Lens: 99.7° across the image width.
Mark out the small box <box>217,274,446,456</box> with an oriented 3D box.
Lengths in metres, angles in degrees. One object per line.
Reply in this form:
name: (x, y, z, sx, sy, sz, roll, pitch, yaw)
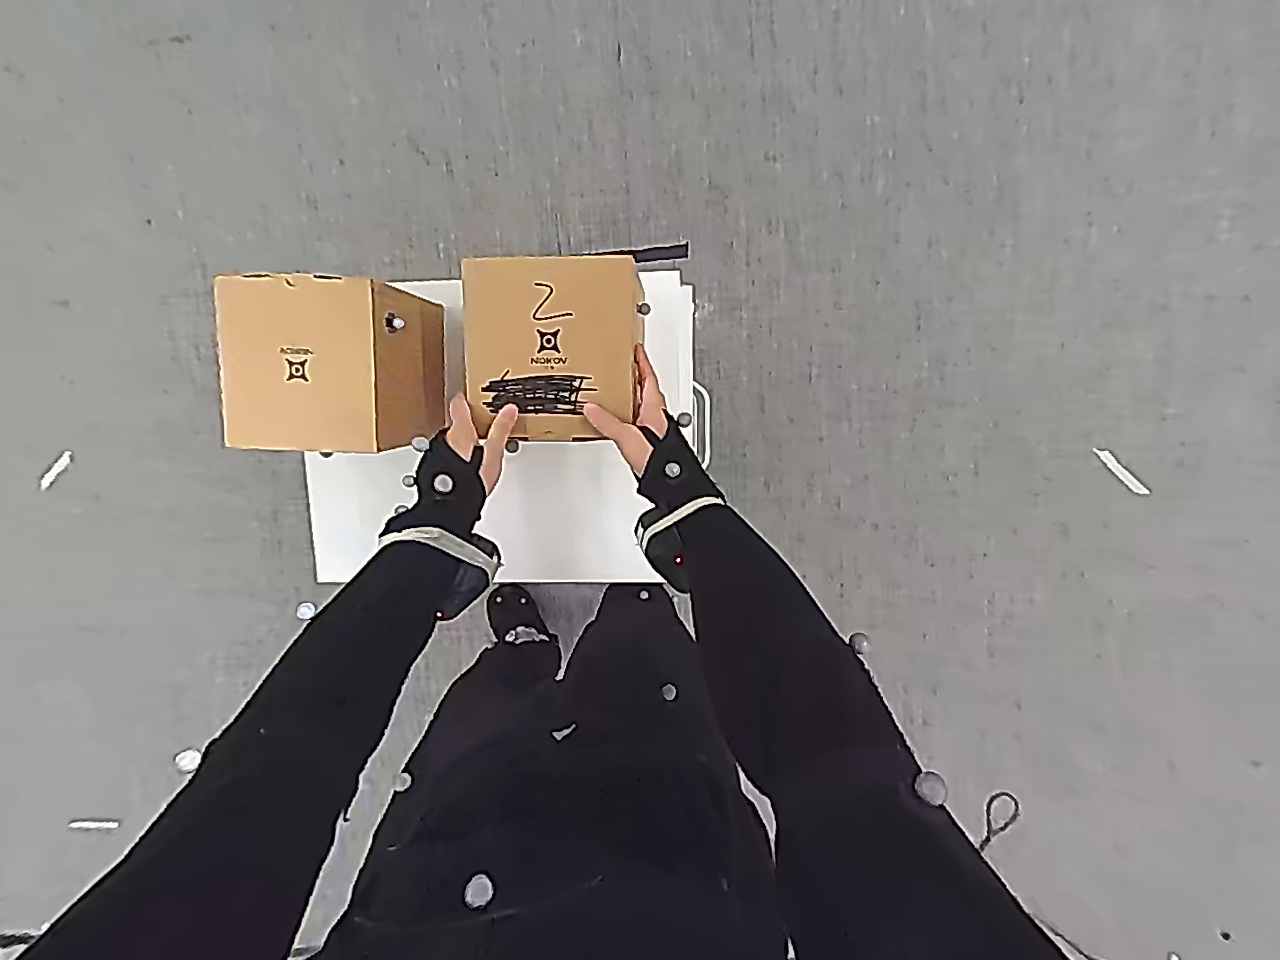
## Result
small box: (-0.335, -0.126, 0.621, 0.168, 0.176, 0.179, 2, 98, 3)
